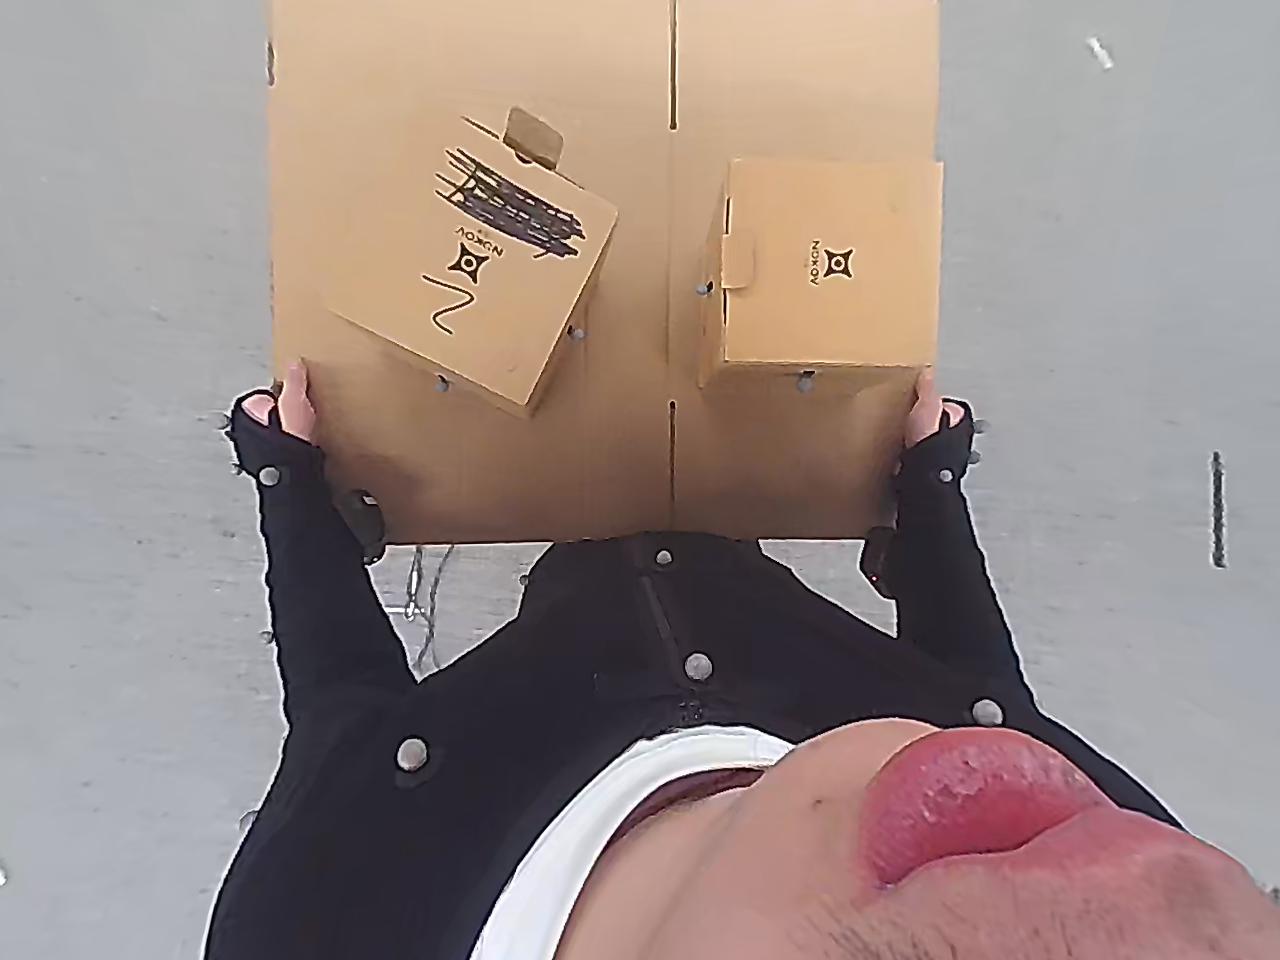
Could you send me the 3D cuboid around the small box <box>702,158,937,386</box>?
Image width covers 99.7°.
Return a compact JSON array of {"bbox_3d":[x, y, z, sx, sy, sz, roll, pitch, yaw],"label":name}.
[{"bbox_3d":[0.159,-0.187,0.533,0.179,0.176,0.168,1,92,1],"label":"small box"}]
